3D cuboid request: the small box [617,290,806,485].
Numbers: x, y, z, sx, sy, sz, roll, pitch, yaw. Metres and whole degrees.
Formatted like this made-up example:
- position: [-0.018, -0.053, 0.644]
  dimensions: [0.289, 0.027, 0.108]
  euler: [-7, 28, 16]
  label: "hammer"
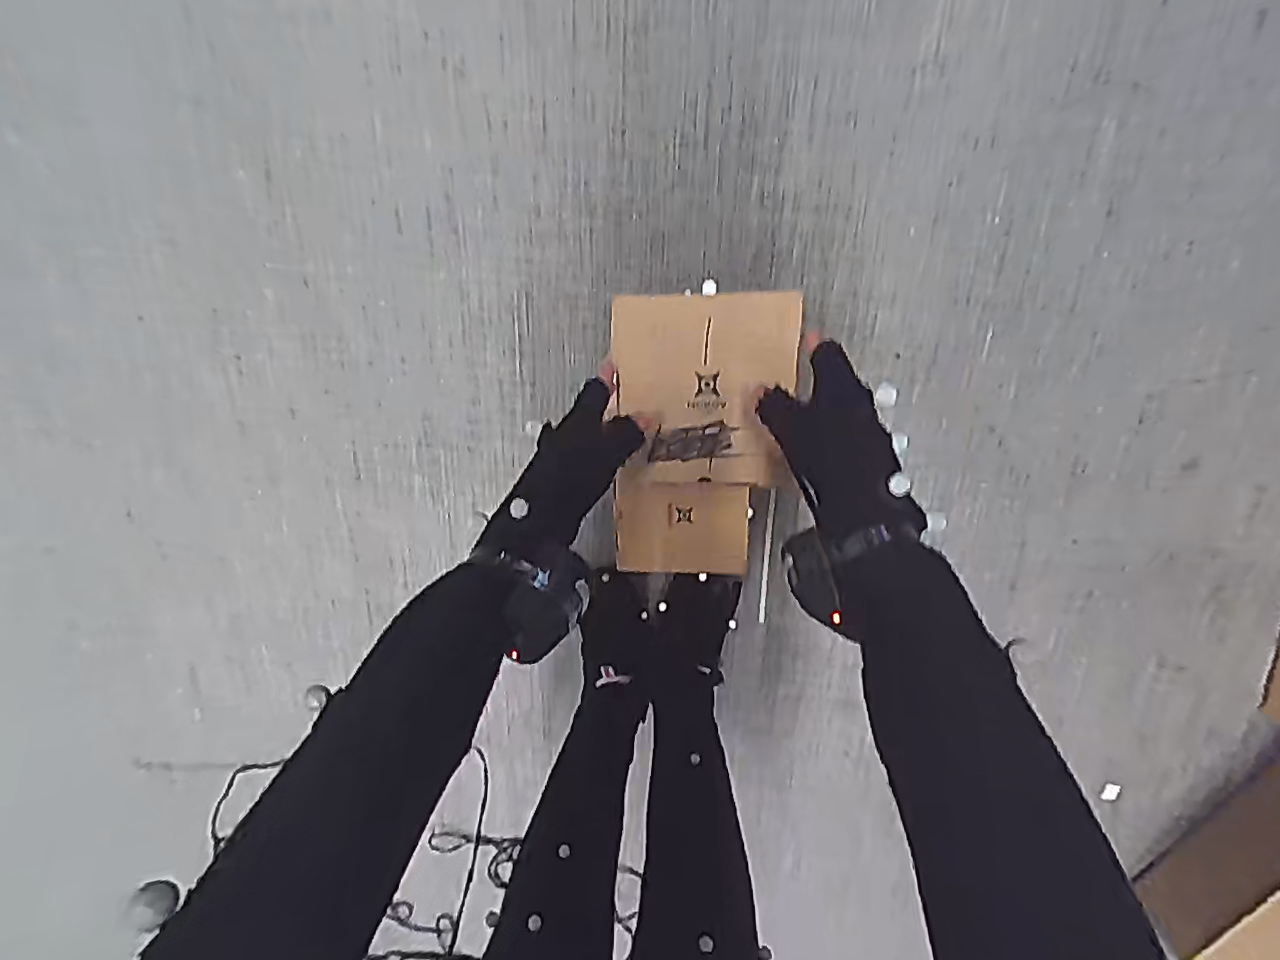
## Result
- position: [0.069, -0.103, 0.565]
  dimensions: [0.168, 0.176, 0.179]
  euler: [0, 106, 5]
  label: "small box"
